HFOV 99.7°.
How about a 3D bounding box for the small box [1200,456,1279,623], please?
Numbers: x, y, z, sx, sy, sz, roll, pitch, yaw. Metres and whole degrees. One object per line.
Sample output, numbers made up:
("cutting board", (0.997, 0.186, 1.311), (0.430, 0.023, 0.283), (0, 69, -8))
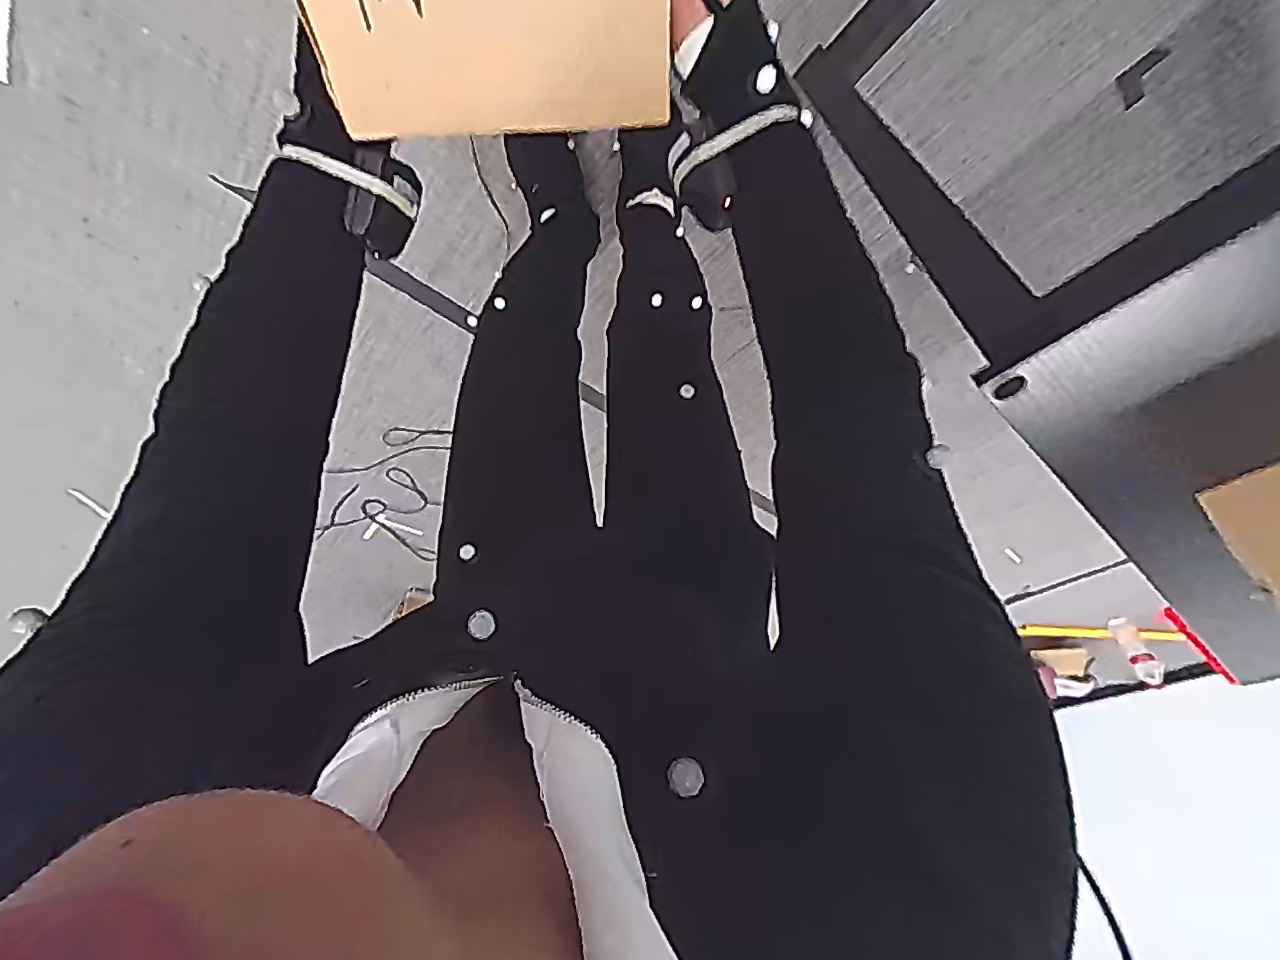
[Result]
("small box", (0.657, 0.063, 0.478), (0.168, 0.176, 0.179), (26, 132, -33))

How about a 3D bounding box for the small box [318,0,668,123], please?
("small box", (-0.077, -0.319, 0.299), (0.179, 0.176, 0.168), (-4, 140, -2))
